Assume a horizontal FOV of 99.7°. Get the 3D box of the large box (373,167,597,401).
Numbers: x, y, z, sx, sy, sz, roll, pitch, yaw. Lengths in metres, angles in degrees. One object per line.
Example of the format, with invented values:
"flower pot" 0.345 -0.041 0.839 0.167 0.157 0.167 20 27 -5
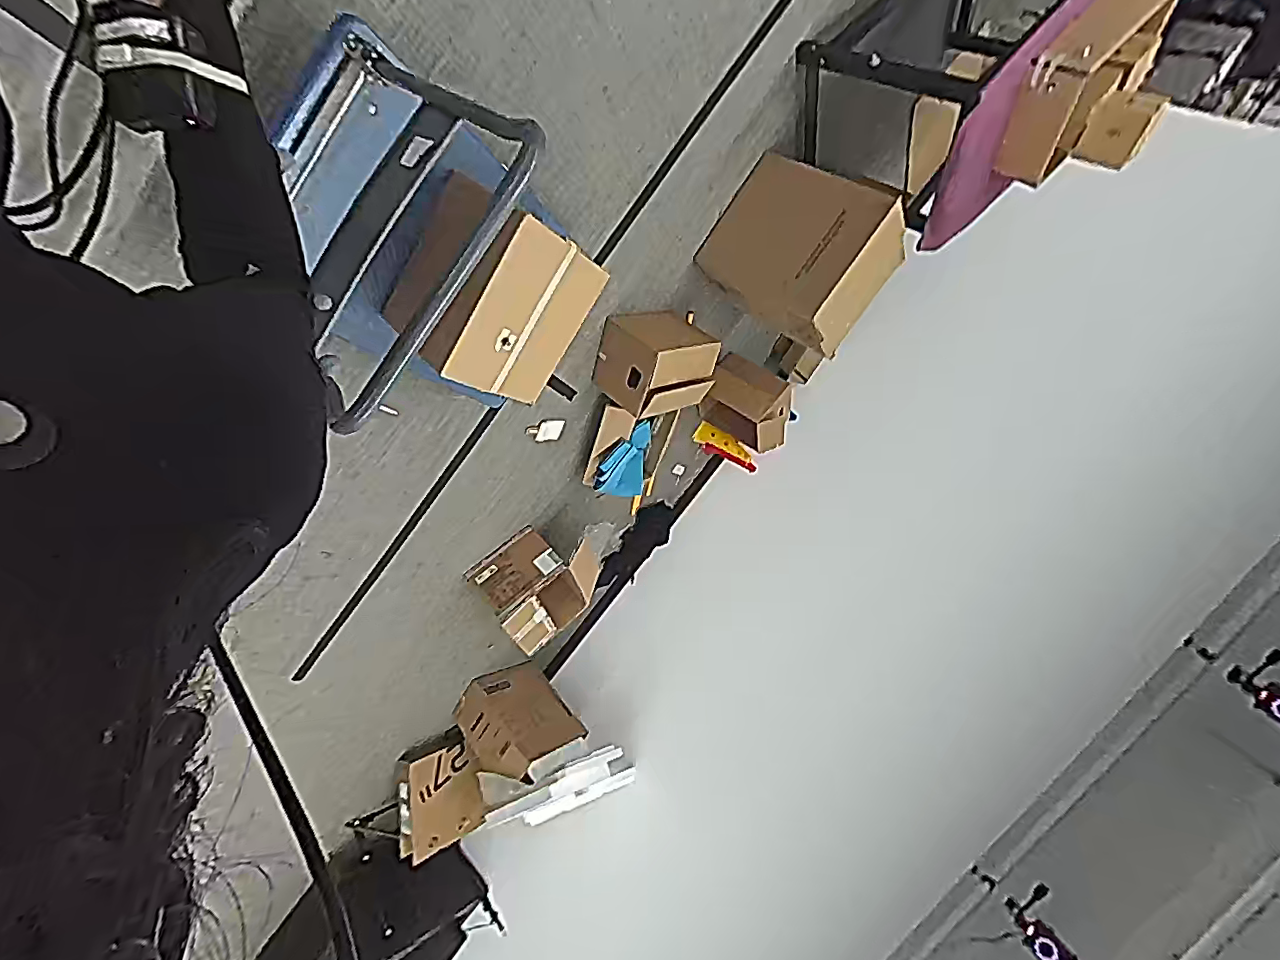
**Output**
"large box" -0.389 -0.476 1.363 0.408 0.320 0.320 -55 151 13
